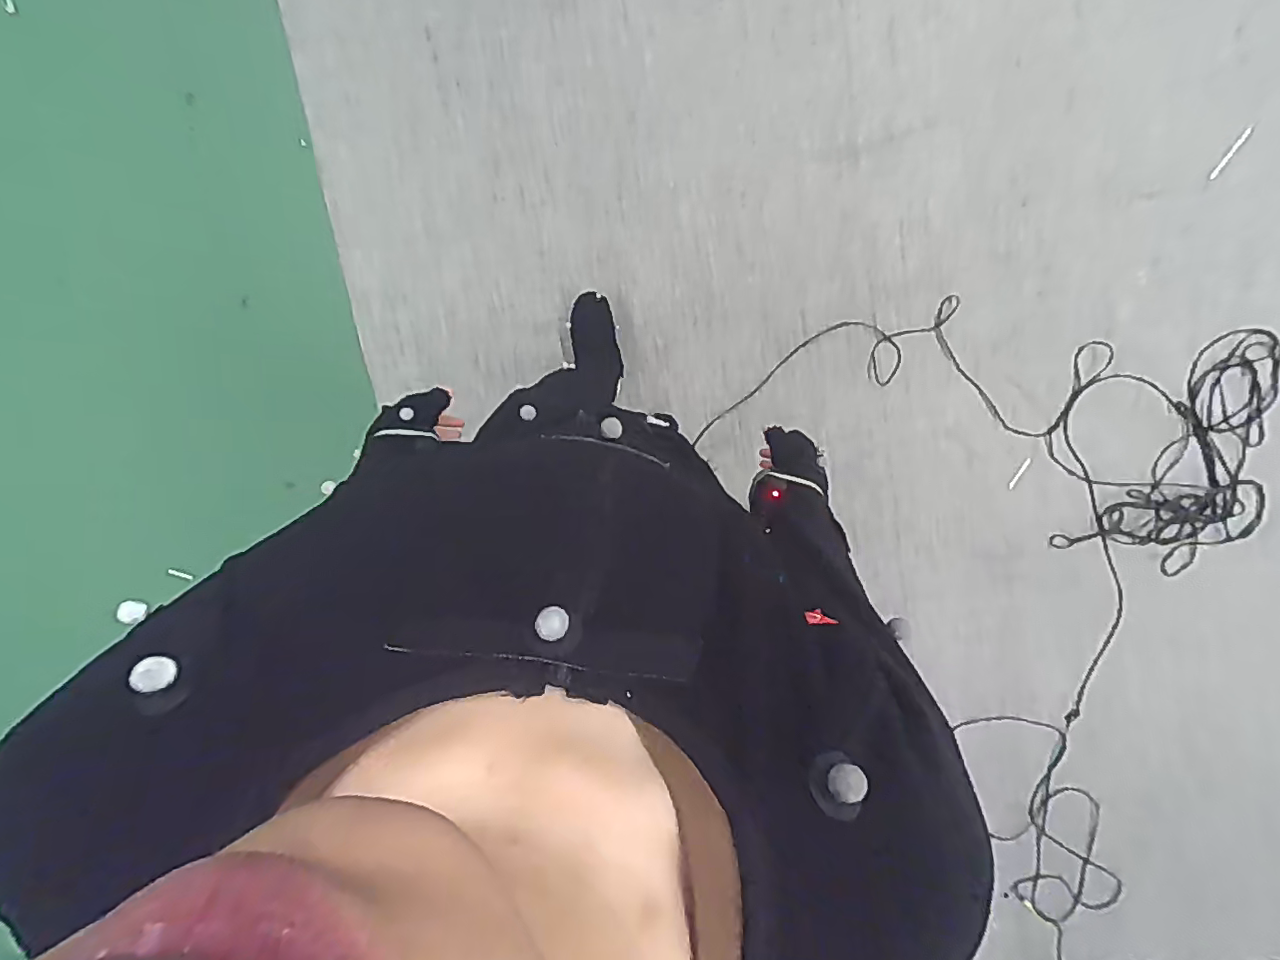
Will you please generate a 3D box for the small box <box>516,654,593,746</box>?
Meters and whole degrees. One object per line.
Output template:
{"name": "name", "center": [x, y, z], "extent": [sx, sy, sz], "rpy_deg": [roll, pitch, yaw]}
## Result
{"name": "small box", "center": [-0.229, 0.594, 1.486], "extent": [0.168, 0.176, 0.179], "rpy_deg": [-9, 99, 4]}
